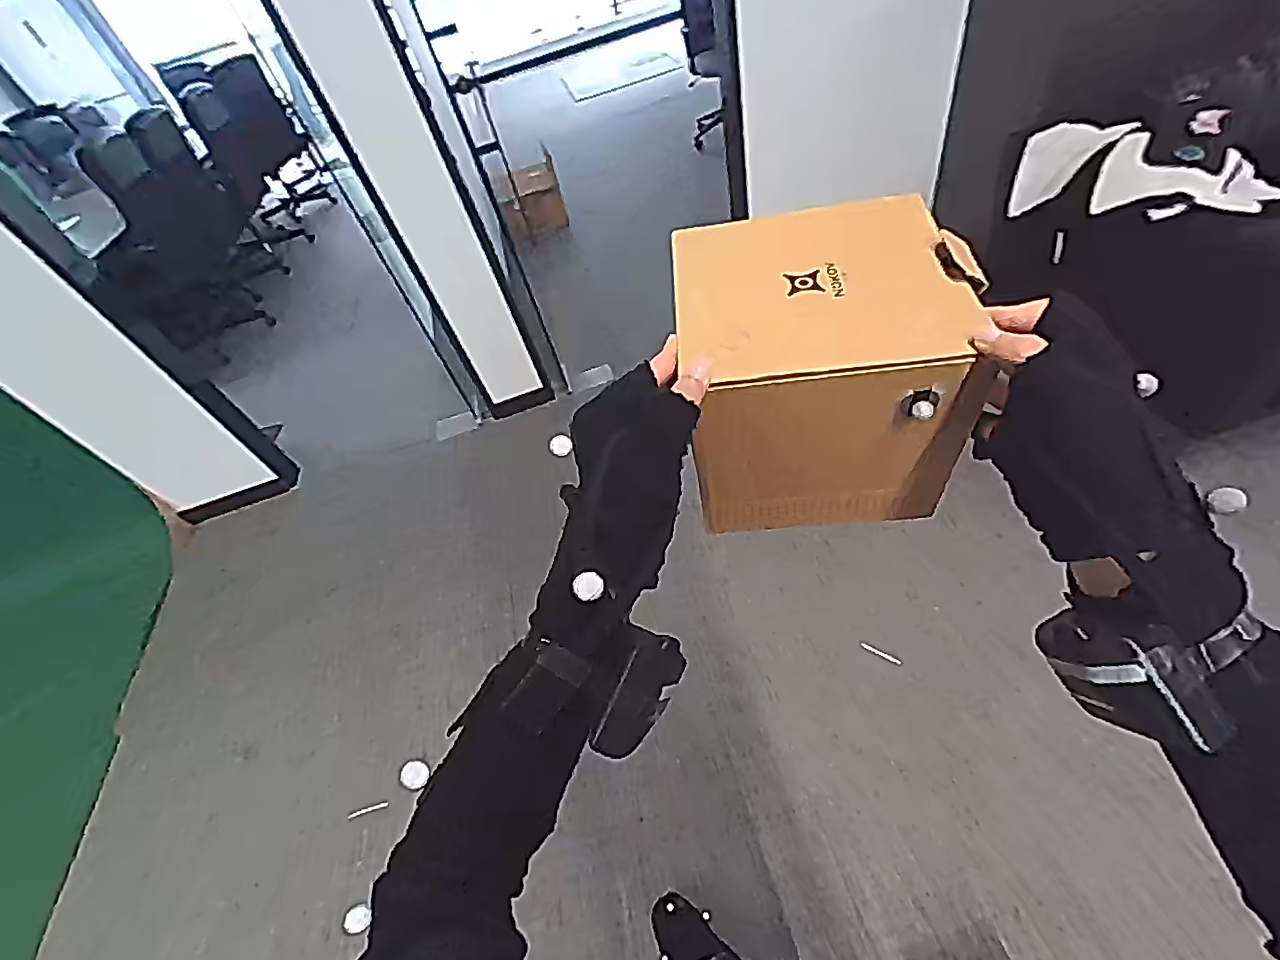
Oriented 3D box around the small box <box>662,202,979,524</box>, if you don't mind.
[{"bbox_3d":[0.115,-0.078,0.414,0.179,0.176,0.168,-5,54,8],"label":"small box"}]
